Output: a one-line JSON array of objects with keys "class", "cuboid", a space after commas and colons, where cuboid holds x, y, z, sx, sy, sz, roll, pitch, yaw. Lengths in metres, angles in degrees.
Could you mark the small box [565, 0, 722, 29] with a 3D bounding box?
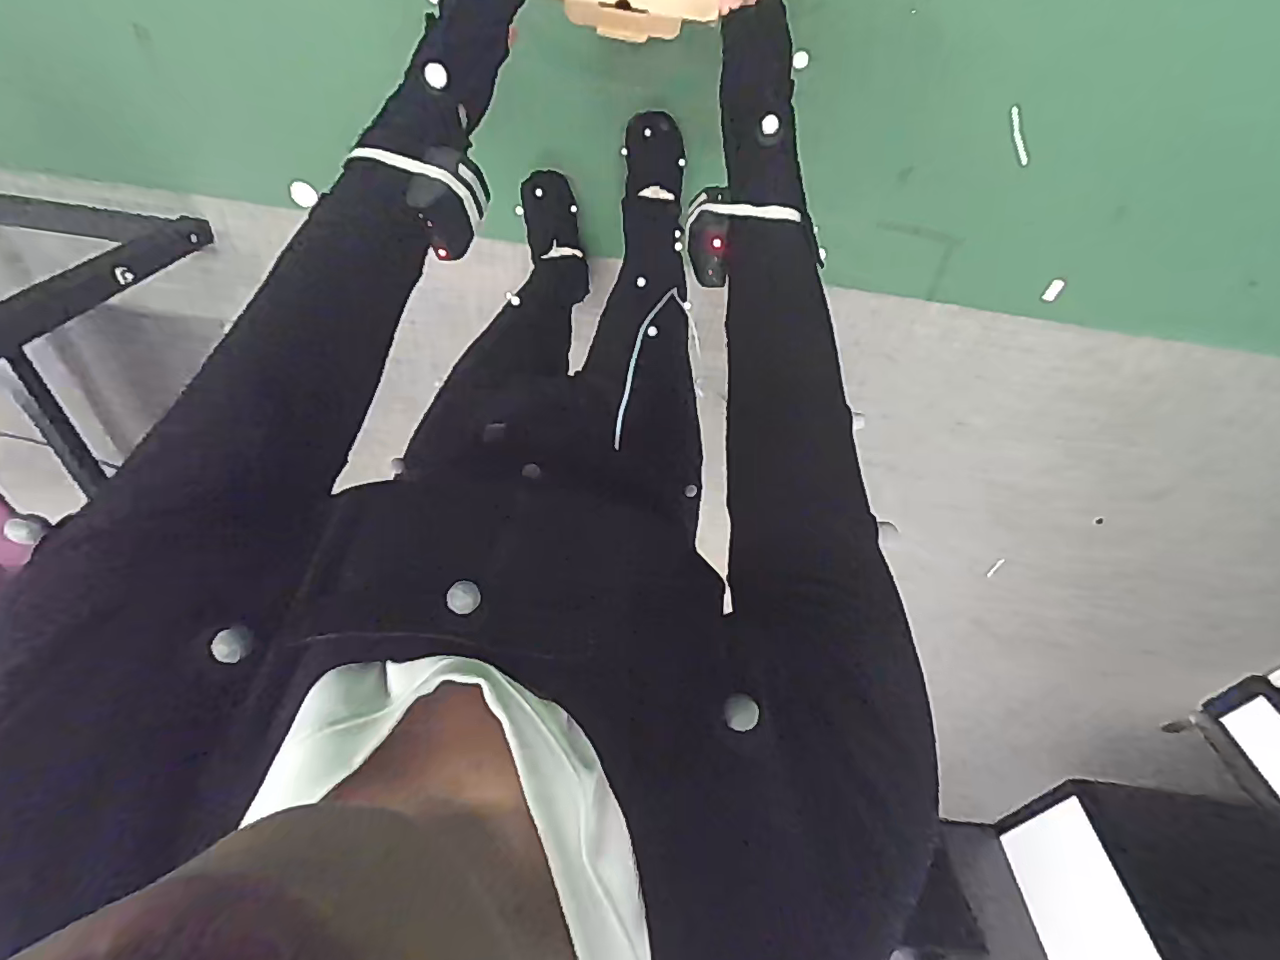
[{"class": "small box", "cuboid": [0.001, -0.523, 0.474, 0.168, 0.176, 0.179, 7, 131, -4]}]
